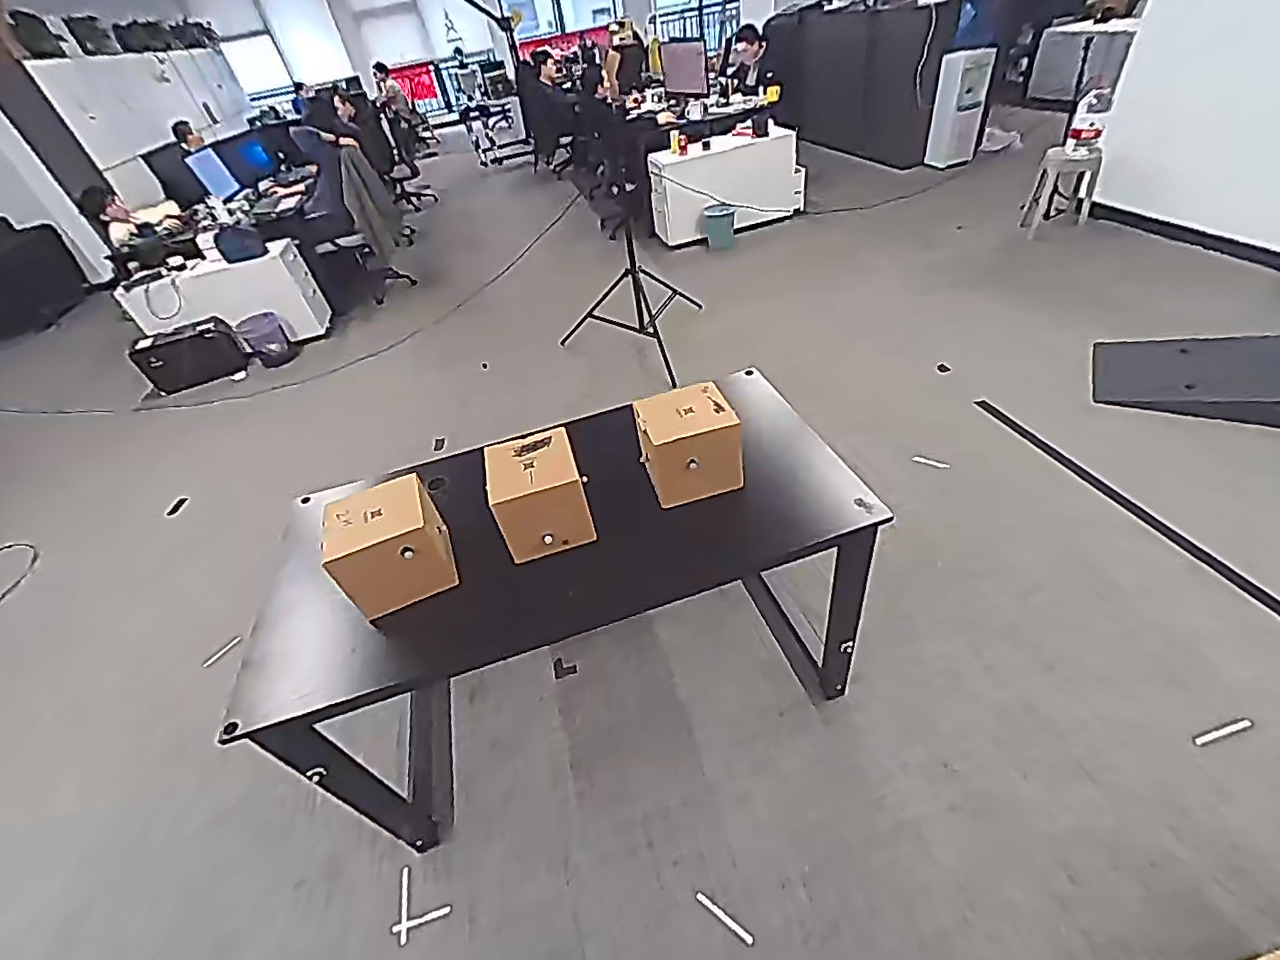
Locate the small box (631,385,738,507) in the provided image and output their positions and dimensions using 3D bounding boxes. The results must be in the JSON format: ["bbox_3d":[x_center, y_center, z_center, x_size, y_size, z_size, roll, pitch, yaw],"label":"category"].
[{"bbox_3d":[0.094,-0.067,1.119,0.179,0.176,0.168,-16,42,-4],"label":"small box"}]

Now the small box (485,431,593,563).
[{"bbox_3d":[-0.200,0.033,1.073,0.168,0.176,0.179,-17,42,-5],"label":"small box"}]

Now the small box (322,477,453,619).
[{"bbox_3d":[-0.470,0.129,1.027,0.179,0.176,0.168,-22,42,-12],"label":"small box"}]
